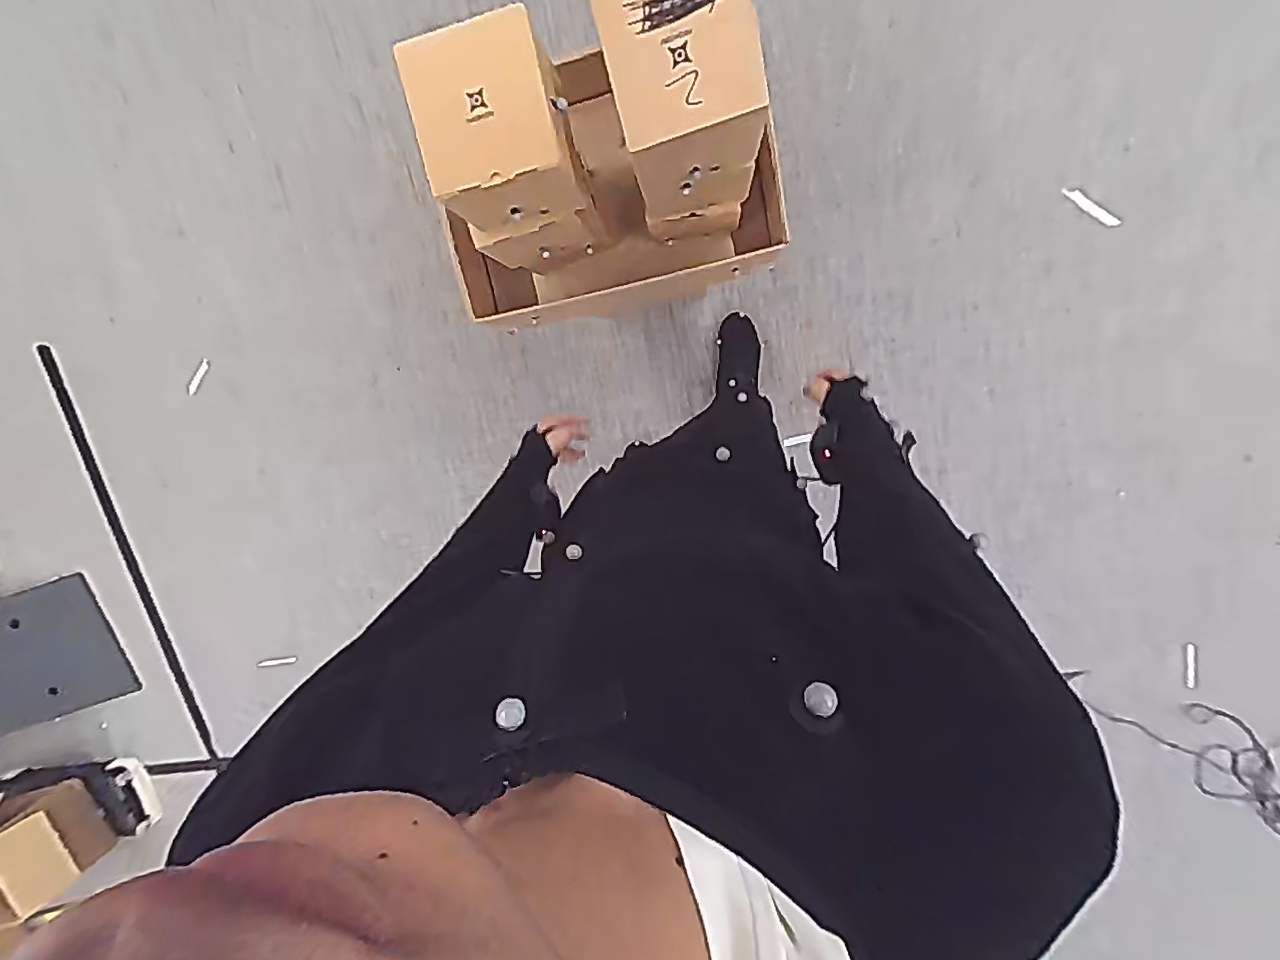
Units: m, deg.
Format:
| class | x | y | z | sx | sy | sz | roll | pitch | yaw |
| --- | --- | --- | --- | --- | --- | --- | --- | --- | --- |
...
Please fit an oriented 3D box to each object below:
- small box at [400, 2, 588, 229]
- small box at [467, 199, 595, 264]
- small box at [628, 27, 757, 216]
| class | x | y | z | sx | sy | sz | roll | pitch | yaw |
| --- | --- | --- | --- | --- | --- | --- | --- | --- | --- |
| small box | -0.178 | -0.459 | 0.713 | 0.168 | 0.176 | 0.179 | -12 | 101 | 7 |
| small box | -0.184 | -0.473 | 0.878 | 0.168 | 0.176 | 0.179 | -15 | 101 | 9 |
| small box | 0.081 | -0.532 | 0.828 | 0.168 | 0.176 | 0.179 | -7 | 101 | 8 |
